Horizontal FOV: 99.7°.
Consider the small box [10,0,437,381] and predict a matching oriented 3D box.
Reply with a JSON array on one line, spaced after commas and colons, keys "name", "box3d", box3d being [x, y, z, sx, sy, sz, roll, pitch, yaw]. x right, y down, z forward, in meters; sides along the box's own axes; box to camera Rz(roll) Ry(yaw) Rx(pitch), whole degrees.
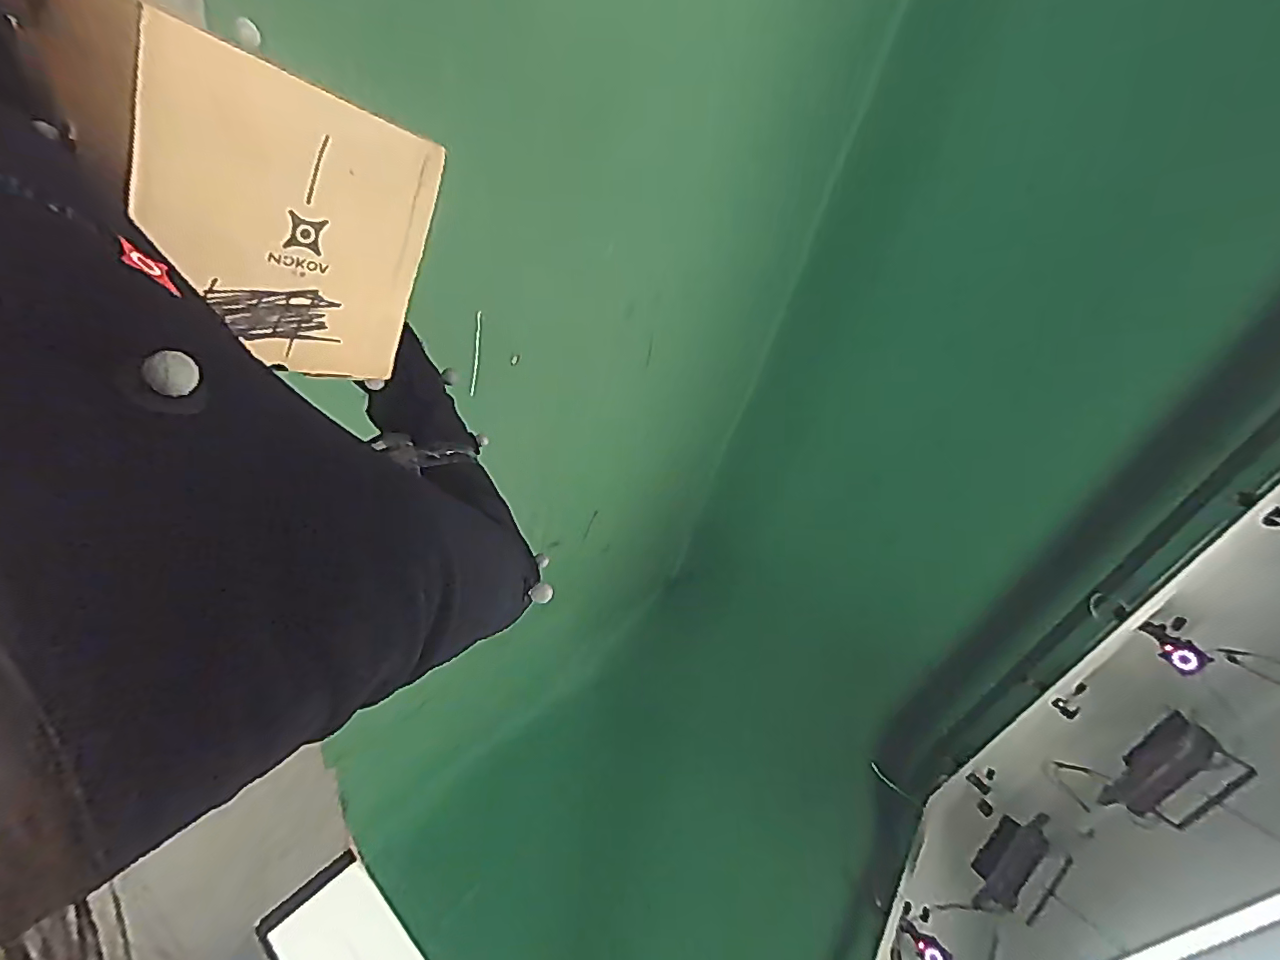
[{"name": "small box", "box3d": [-0.277, -0.186, 0.366, 0.168, 0.176, 0.179, -13, 133, -60]}]
